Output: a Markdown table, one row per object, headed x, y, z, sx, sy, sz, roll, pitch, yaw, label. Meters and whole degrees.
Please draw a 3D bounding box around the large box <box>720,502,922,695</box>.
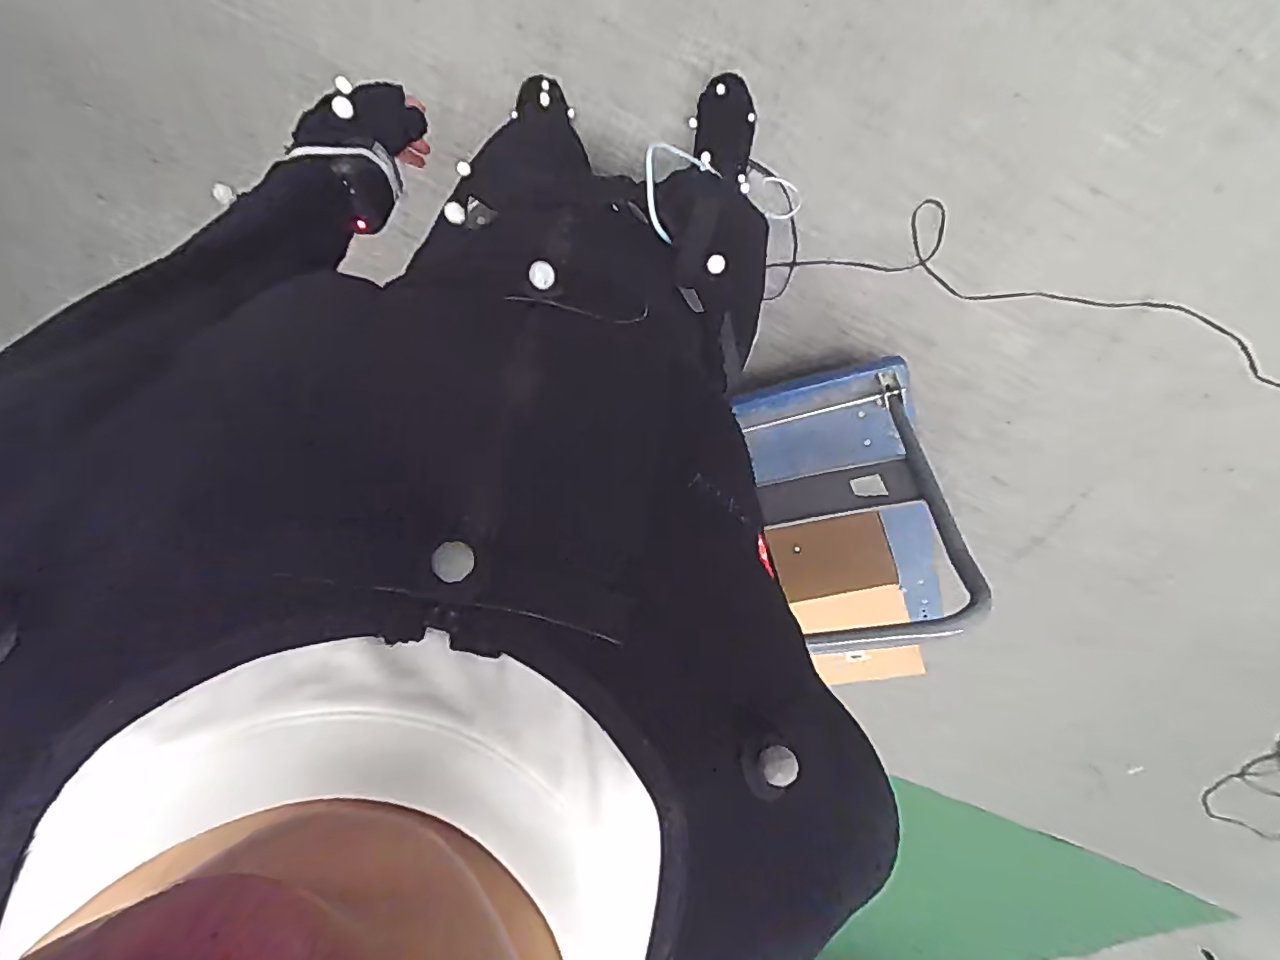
| x | y | z | sx | sy | sz | roll | pitch | yaw | label |
| --- | --- | --- | --- | --- | --- | --- | --- | --- | --- |
| 0.451 | 0.307 | 1.405 | 0.408 | 0.320 | 0.320 | -18 | 120 | 20 | large box |
